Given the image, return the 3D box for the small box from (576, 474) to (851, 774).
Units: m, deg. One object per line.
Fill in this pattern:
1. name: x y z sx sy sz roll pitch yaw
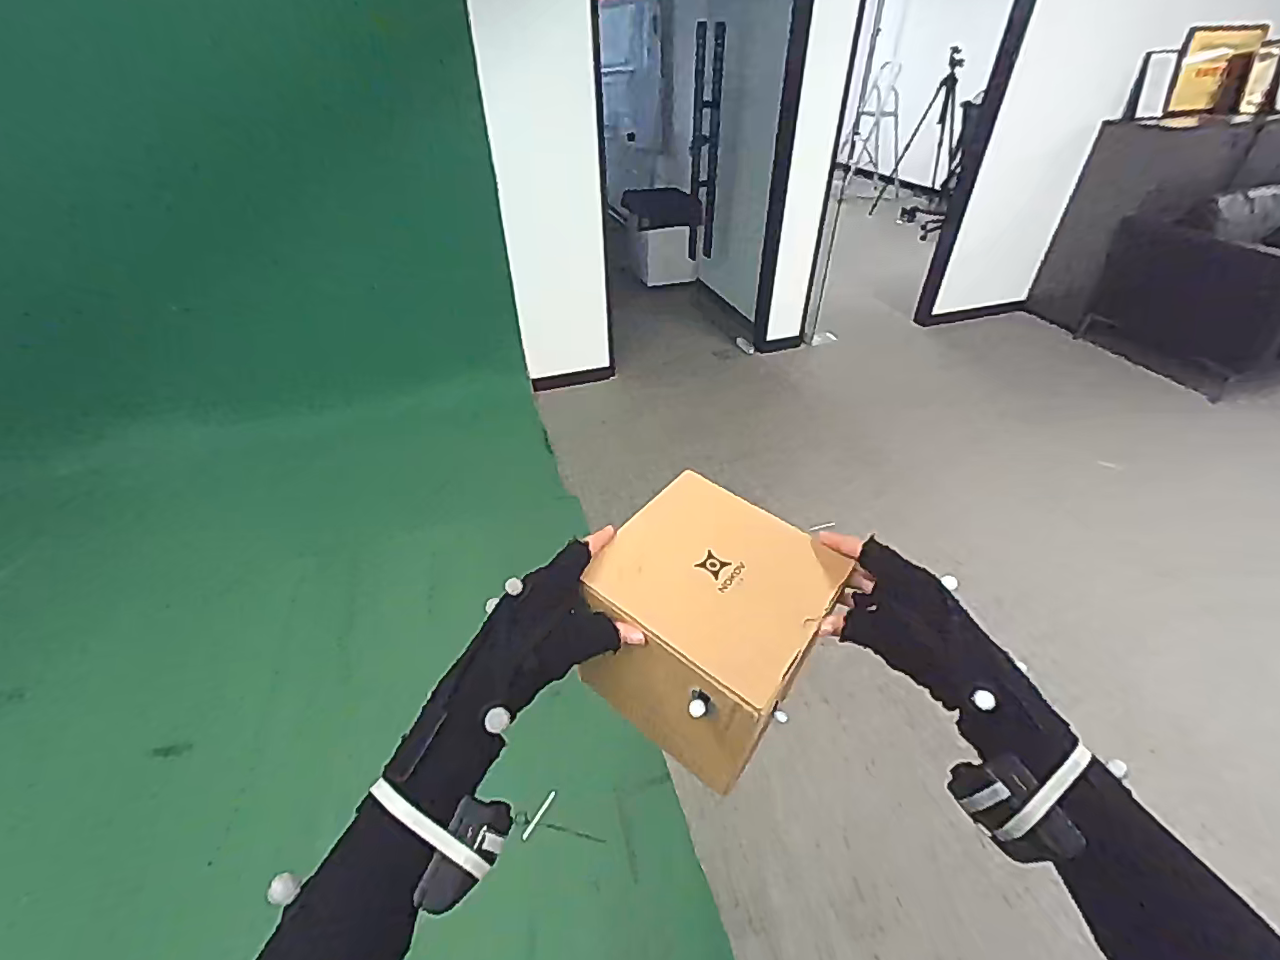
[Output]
1. small box: 0.058 0.131 0.502 0.179 0.176 0.168 31 50 25
